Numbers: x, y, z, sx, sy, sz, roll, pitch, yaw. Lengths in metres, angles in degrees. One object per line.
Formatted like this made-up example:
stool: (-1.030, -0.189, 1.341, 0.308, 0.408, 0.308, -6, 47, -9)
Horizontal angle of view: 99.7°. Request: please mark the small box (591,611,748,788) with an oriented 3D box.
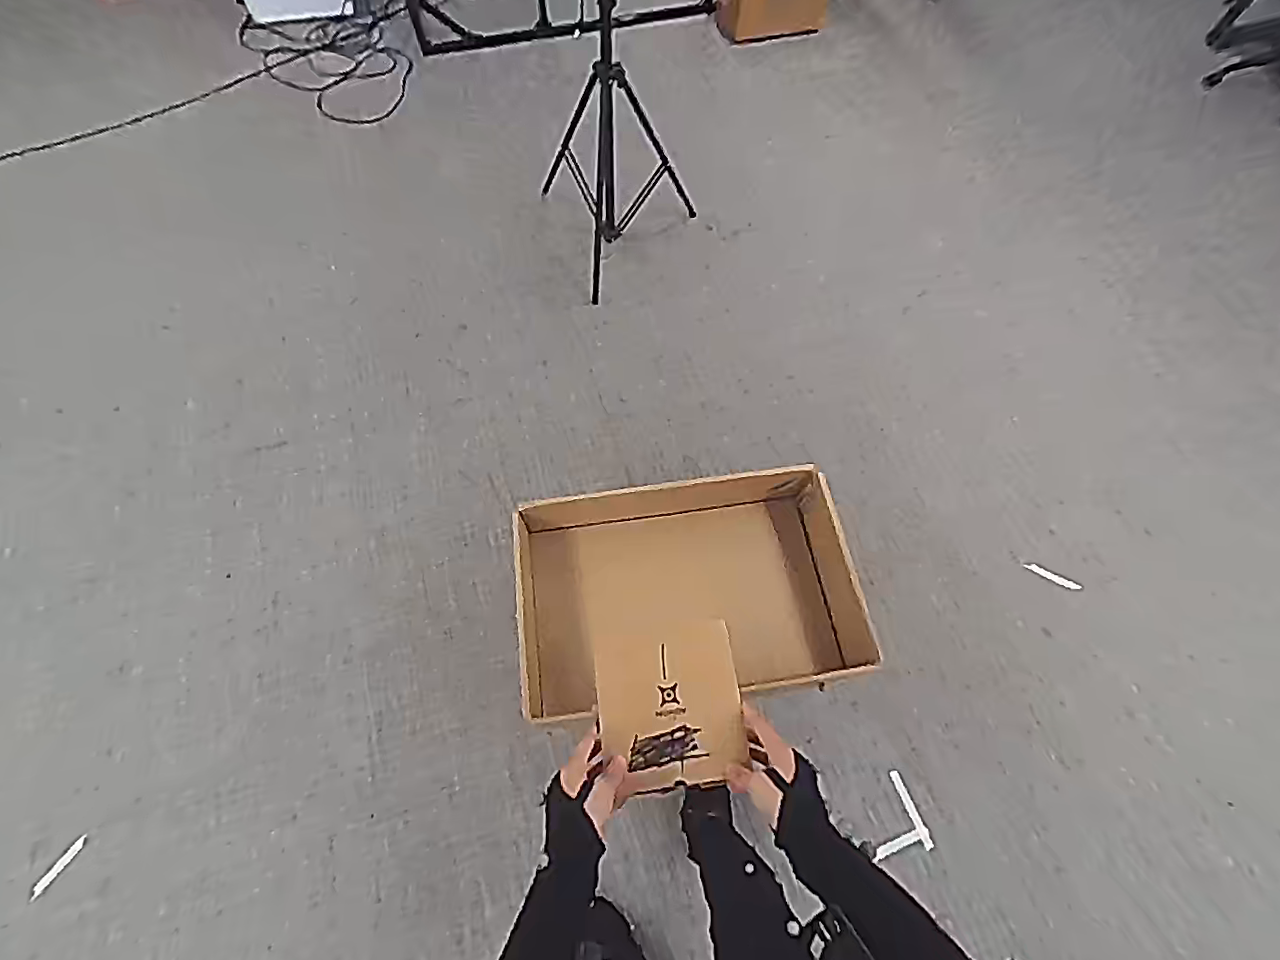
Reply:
small box: (0.034, 0.280, 0.700, 0.168, 0.176, 0.179, -8, 66, -2)
